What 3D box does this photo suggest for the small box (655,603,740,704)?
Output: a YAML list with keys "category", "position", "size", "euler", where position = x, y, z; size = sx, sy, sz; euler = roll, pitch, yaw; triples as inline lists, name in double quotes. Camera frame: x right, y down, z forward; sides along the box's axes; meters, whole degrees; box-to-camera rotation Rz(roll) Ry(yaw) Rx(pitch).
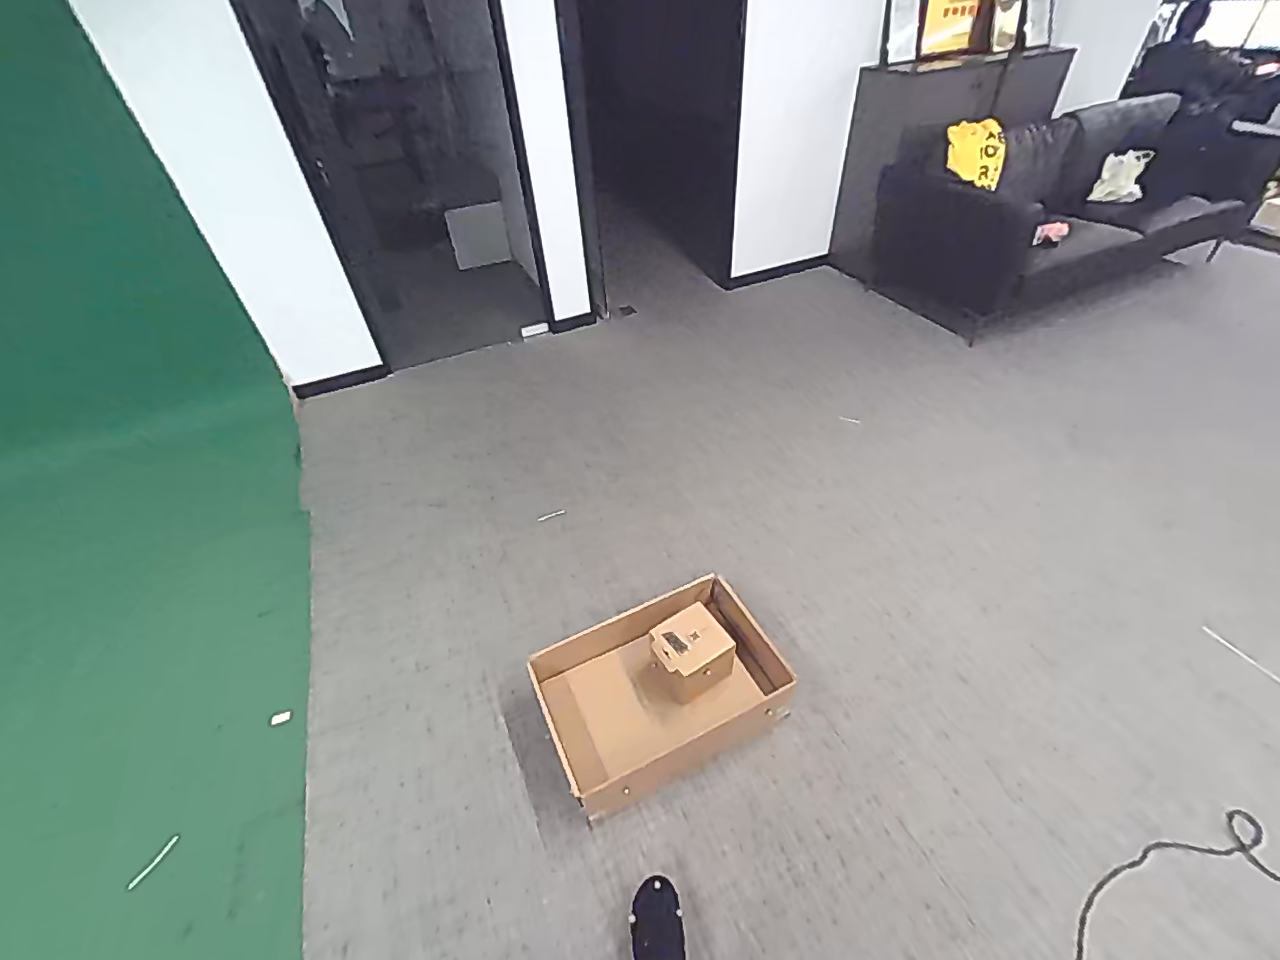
- category: "small box"
  position: [0.160, 0.487, 1.508]
  size: [0.179, 0.176, 0.168]
  euler: [-26, 47, -21]
